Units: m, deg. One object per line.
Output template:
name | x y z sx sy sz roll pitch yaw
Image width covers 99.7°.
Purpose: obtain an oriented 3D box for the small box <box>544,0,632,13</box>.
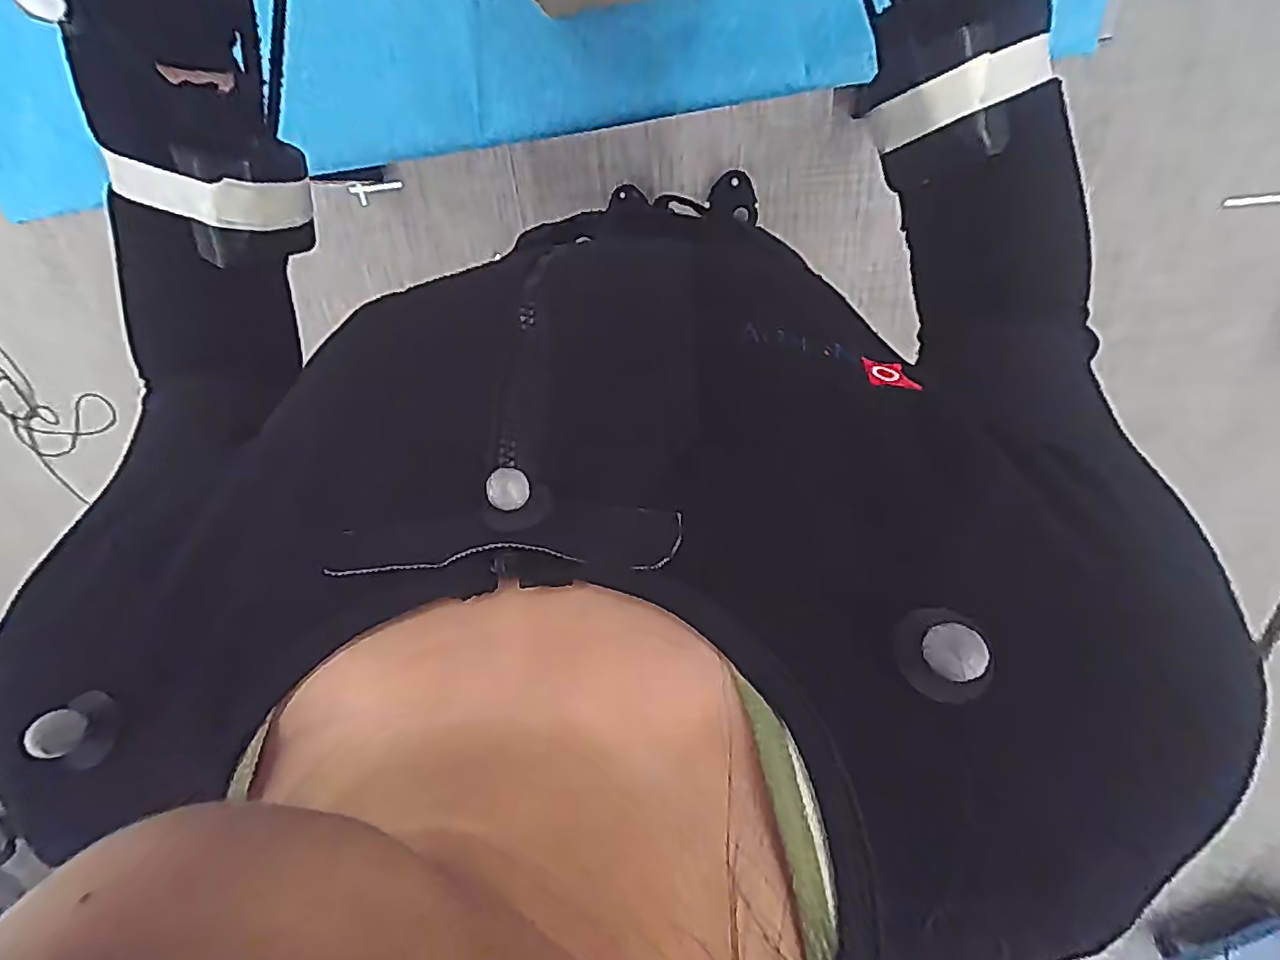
small box | -0.024 -0.496 0.417 0.179 0.176 0.168 -3 119 9
